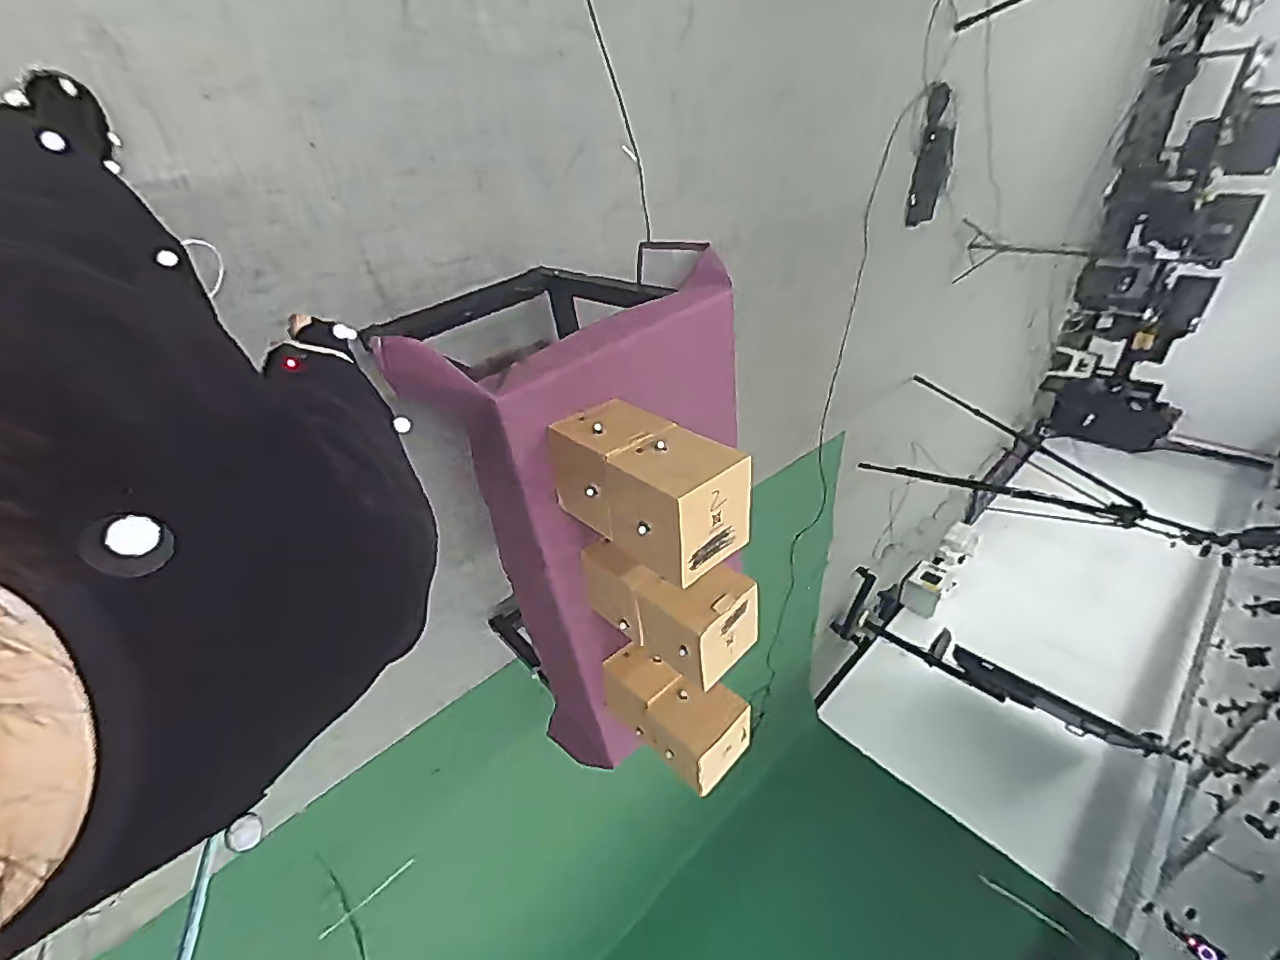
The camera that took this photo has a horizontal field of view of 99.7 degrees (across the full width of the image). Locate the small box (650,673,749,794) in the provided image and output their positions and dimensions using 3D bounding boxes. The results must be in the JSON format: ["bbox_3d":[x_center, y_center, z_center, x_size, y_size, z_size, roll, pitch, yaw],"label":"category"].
[{"bbox_3d":[0.136,0.578,1.271,0.179,0.176,0.168,-31,131,-31],"label":"small box"}]

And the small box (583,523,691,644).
[{"bbox_3d":[-0.003,0.211,1.175,0.168,0.176,0.179,-31,131,-32],"label":"small box"}]

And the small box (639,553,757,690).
[{"bbox_3d":[0.113,0.268,1.073,0.168,0.176,0.179,-33,133,-30],"label":"small box"}]

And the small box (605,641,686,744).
[{"bbox_3d":[0.024,0.517,1.374,0.168,0.176,0.179,-28,129,-34],"label":"small box"}]

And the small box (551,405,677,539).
[{"bbox_3d":[-0.049,-0.026,0.997,0.168,0.176,0.179,-27,129,-34],"label":"small box"}]
